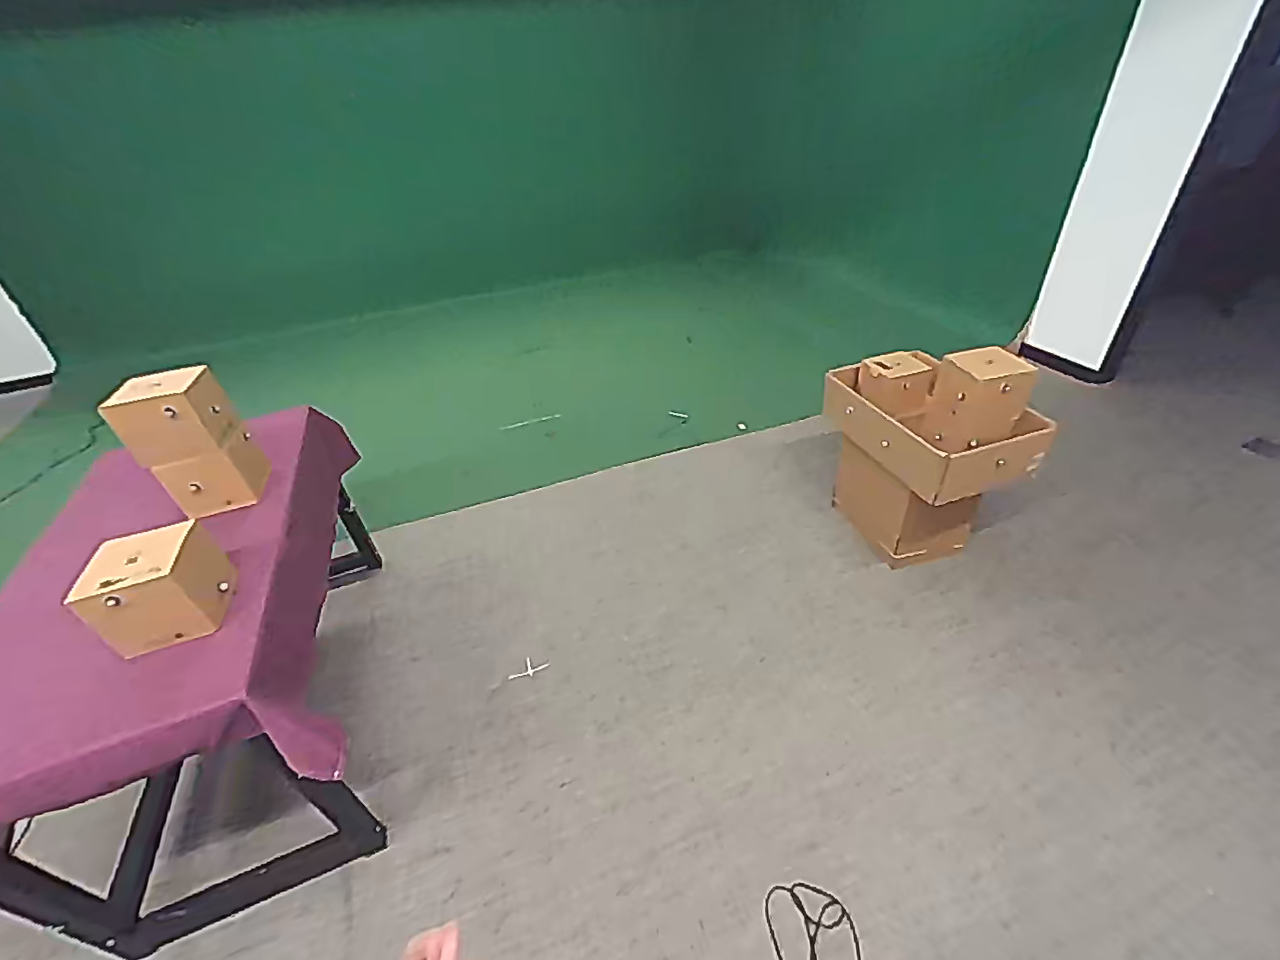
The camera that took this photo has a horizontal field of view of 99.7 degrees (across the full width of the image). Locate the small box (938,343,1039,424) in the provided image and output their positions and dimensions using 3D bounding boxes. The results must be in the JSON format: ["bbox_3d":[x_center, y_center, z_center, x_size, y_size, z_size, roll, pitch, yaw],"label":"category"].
[{"bbox_3d":[0.998,-0.278,1.572,0.179,0.176,0.168,-11,38,-6],"label":"small box"}]

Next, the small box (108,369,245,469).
[{"bbox_3d":[-1.129,-0.152,1.339,0.179,0.176,0.168,-15,37,-10],"label":"small box"}]

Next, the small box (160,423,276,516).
[{"bbox_3d":[-1.106,-0.022,1.438,0.168,0.176,0.179,-16,37,-11],"label":"small box"}]

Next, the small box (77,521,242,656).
[{"bbox_3d":[-0.945,0.216,1.089,0.168,0.176,0.179,-17,37,-12],"label":"small box"}]
